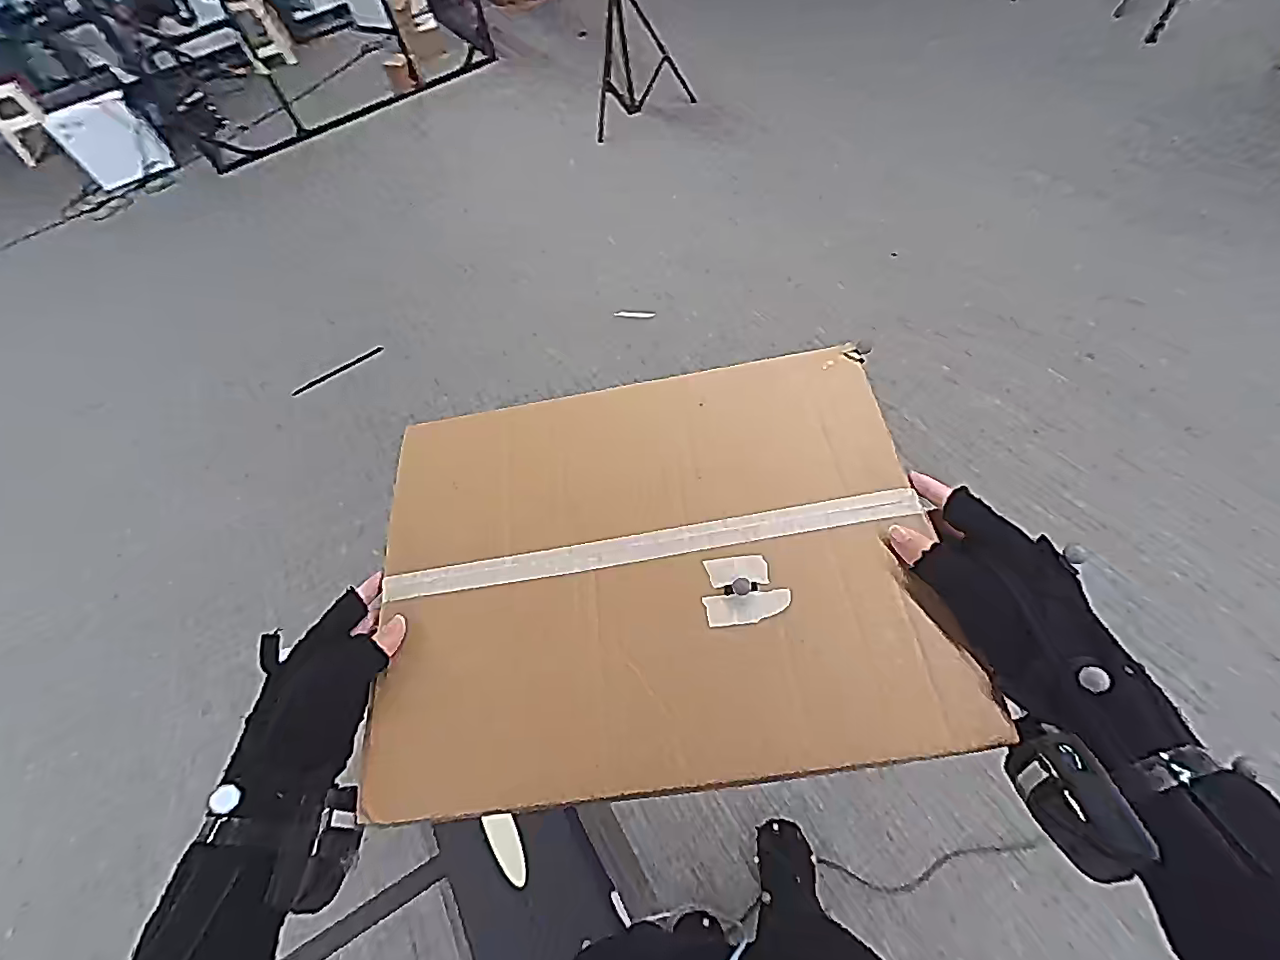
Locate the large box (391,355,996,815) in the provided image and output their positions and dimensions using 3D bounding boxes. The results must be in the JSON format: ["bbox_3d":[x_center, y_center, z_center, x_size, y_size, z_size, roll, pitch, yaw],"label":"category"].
[{"bbox_3d":[0.029,0.126,0.547,0.408,0.320,0.320,-10,60,4],"label":"large box"}]
